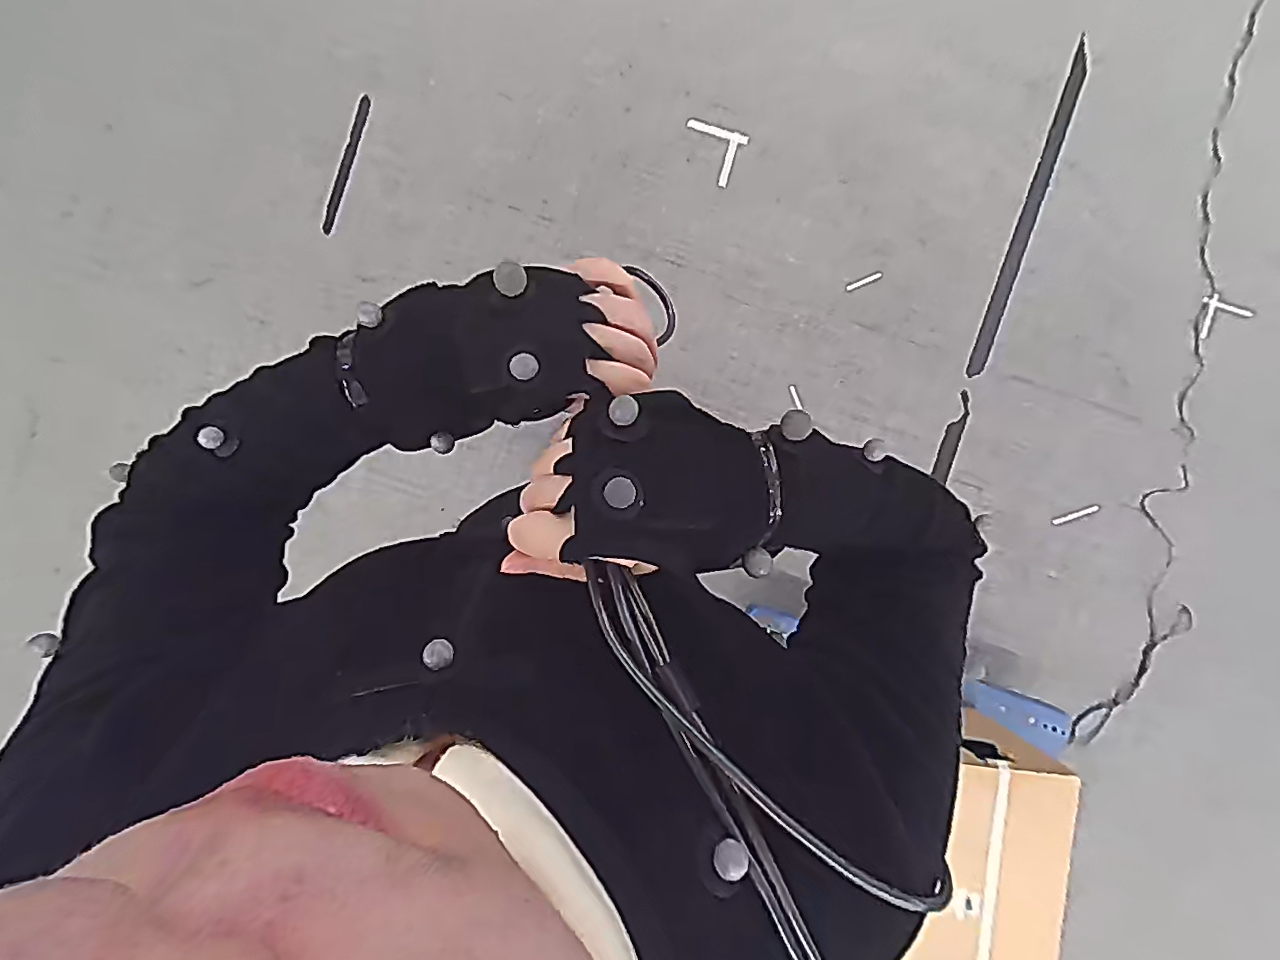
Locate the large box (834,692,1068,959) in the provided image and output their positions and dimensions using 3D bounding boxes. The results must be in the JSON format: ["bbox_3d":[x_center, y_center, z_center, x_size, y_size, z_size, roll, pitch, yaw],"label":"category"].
[{"bbox_3d":[0.659,0.735,1.201,0.320,0.320,0.408,8,91,-1],"label":"large box"}]
